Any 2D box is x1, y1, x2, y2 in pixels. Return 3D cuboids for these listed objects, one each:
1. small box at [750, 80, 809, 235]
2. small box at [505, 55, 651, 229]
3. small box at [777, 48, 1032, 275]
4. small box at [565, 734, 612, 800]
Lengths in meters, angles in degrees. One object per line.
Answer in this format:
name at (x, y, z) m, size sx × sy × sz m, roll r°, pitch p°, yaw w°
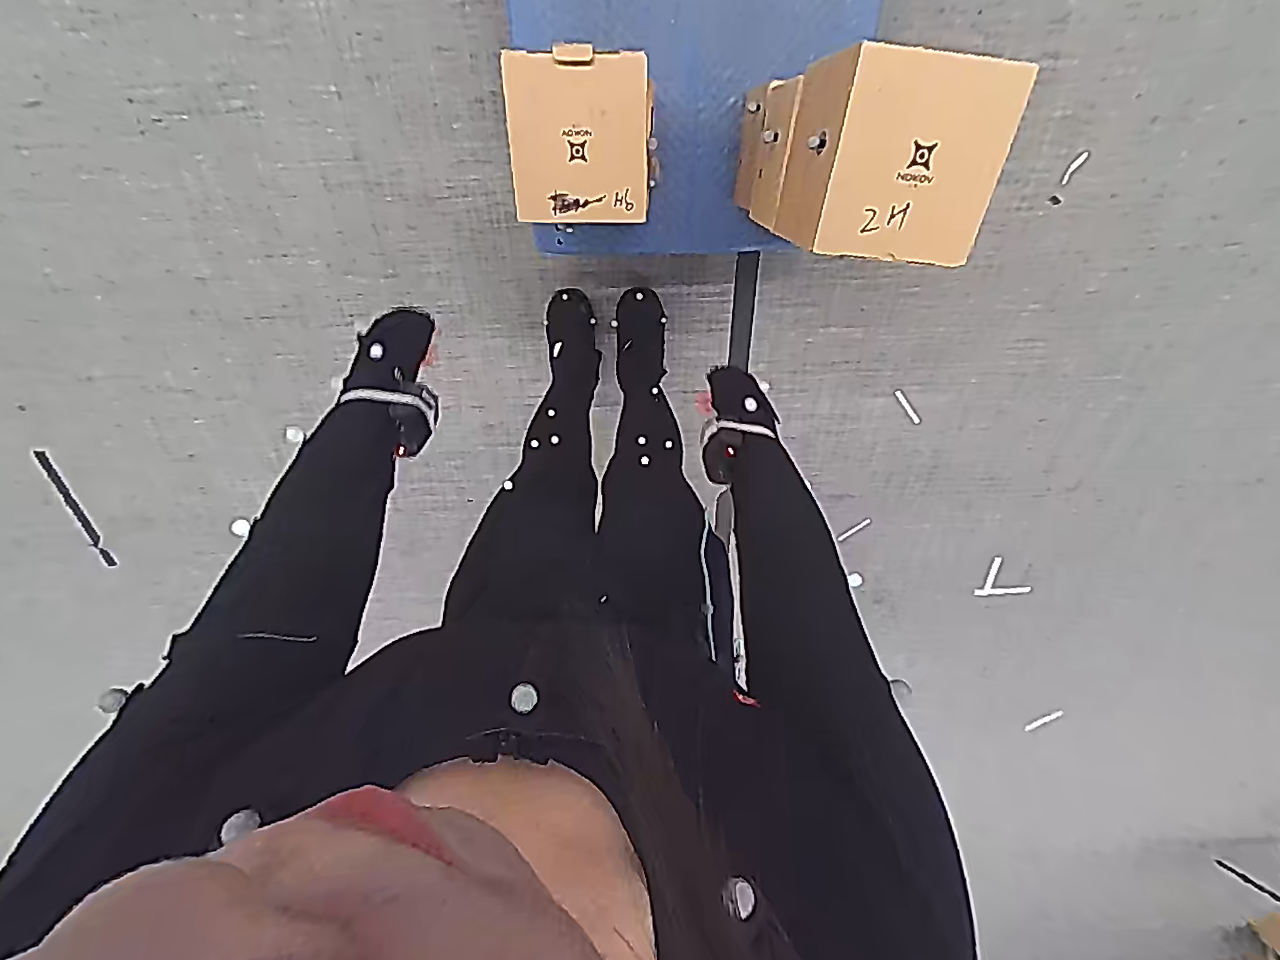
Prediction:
small box at (0.257, -0.421, 0.730) m, size 0.179 × 0.176 × 0.168 m, roll 3°, pitch 122°, yaw -4°
small box at (-0.073, -0.436, 0.713) m, size 0.168 × 0.176 × 0.179 m, roll 0°, pitch 121°, yaw -1°
small box at (0.261, -0.337, 0.588) m, size 0.168 × 0.176 × 0.179 m, roll 4°, pitch 121°, yaw -4°
small box at (-0.199, 1.118, 2.108) m, size 0.168 × 0.176 × 0.179 m, roll 5°, pitch 123°, yaw -3°
